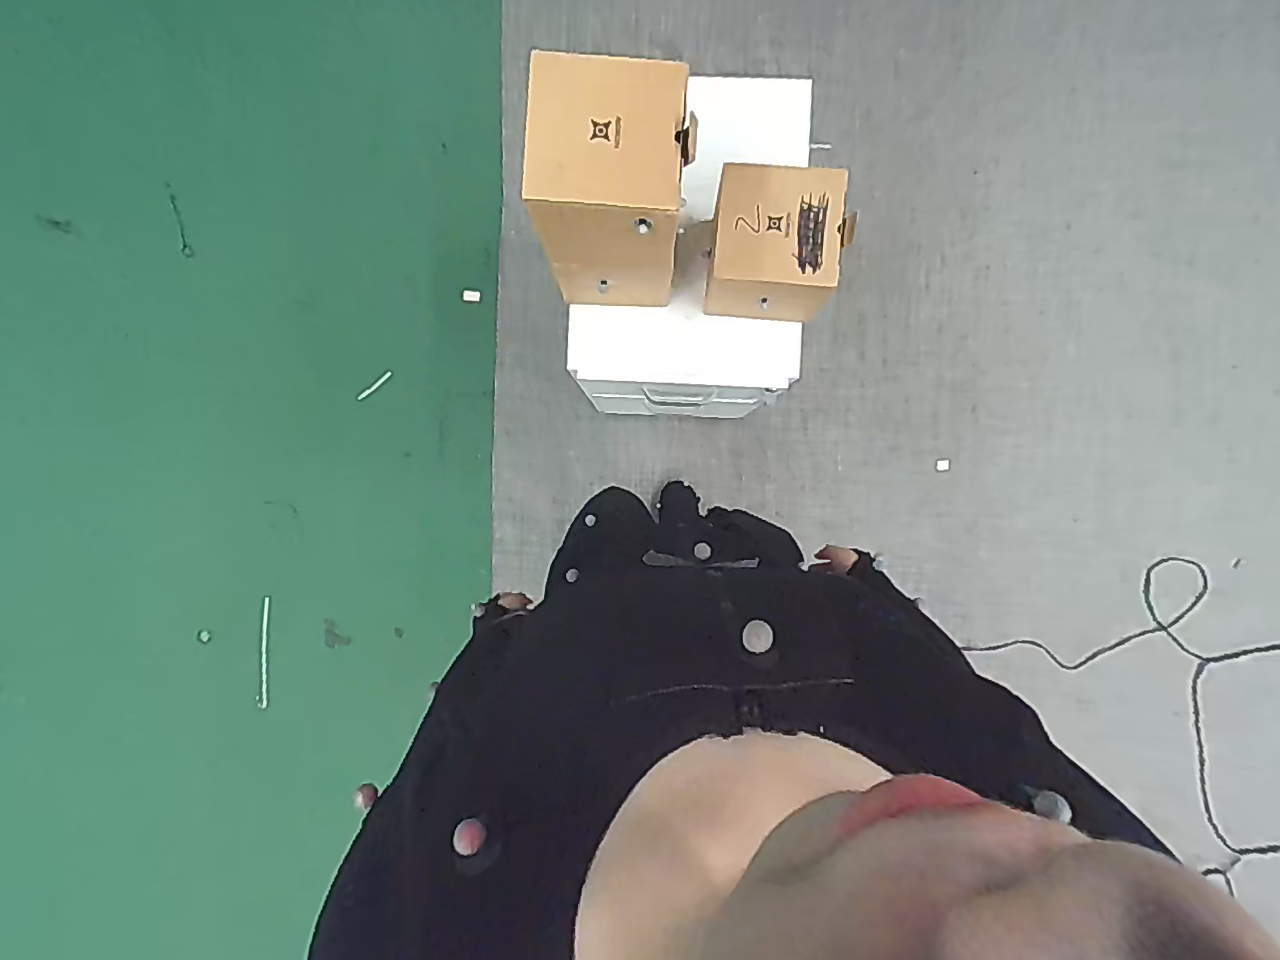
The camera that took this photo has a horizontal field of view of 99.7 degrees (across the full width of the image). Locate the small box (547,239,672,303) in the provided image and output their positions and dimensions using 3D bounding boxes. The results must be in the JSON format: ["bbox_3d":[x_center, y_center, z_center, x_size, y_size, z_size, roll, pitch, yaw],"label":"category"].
[{"bbox_3d":[-0.039,-0.383,0.835,0.179,0.176,0.168,2,90,0],"label":"small box"}]

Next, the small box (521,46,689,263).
[{"bbox_3d":[-0.039,-0.387,0.671,0.179,0.176,0.168,4,89,-2],"label":"small box"}]
